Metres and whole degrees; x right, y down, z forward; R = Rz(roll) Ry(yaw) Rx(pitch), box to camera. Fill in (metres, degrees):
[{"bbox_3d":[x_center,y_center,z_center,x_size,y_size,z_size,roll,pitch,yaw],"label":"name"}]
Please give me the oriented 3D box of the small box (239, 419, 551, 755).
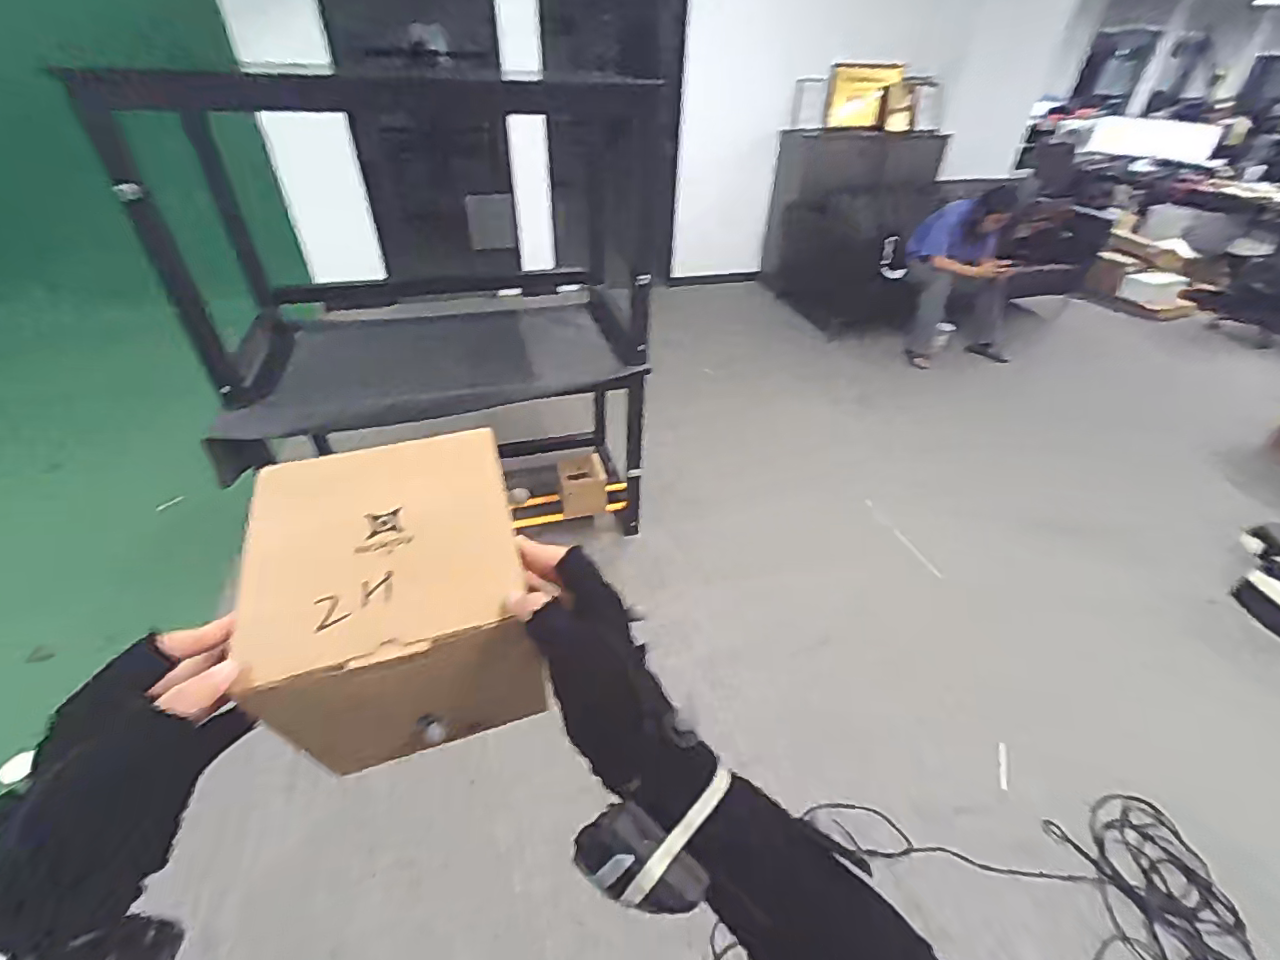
[{"bbox_3d":[-0.171,0.080,0.424,0.168,0.176,0.179,-12,49,-15],"label":"small box"}]
